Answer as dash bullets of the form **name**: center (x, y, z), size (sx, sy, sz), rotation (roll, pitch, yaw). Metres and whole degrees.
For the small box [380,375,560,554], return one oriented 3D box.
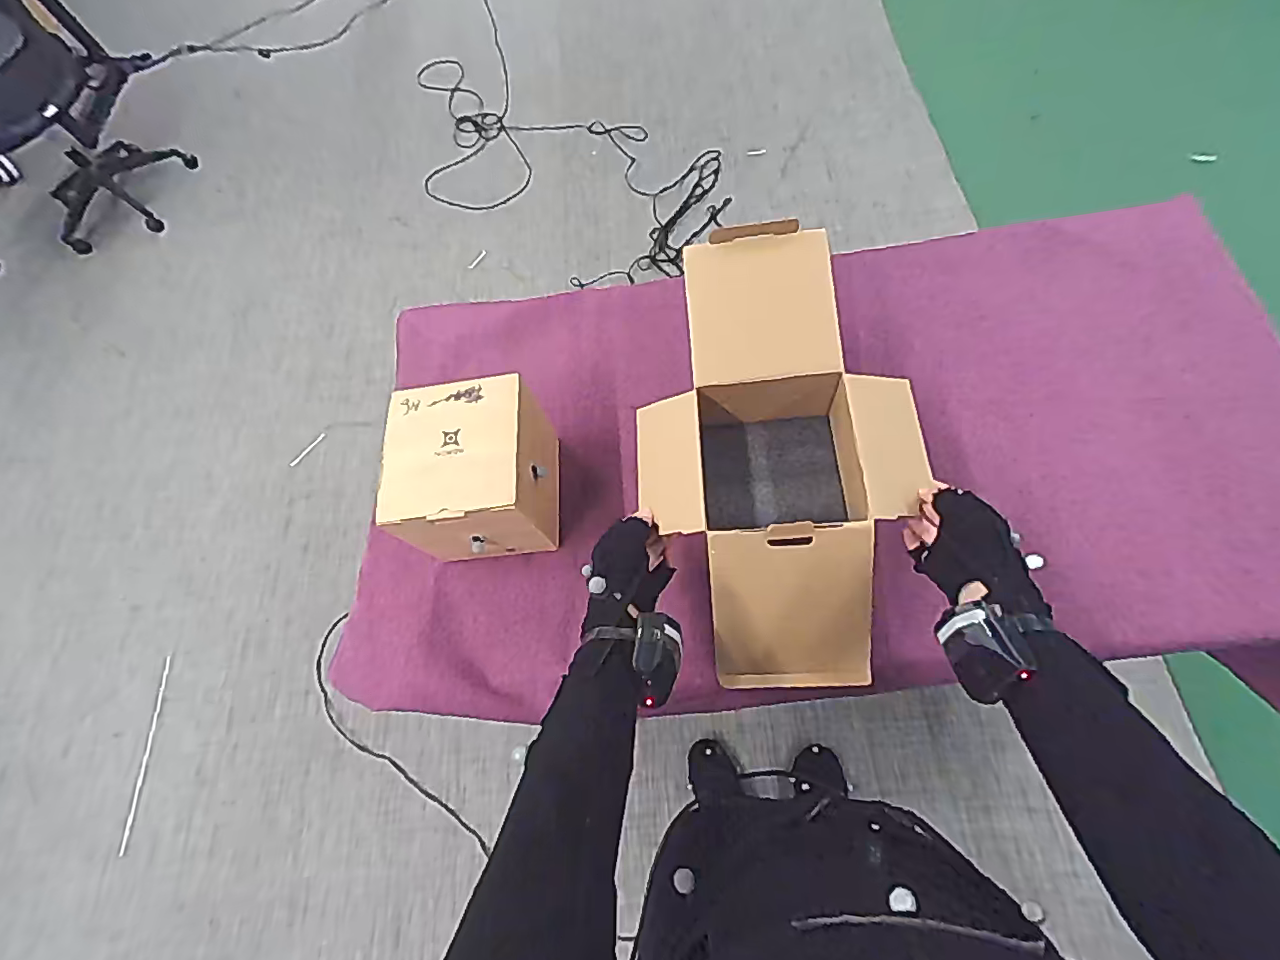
- **small box**: center (-0.203, -0.008, 0.697), size (0.168, 0.176, 0.179), rotation (-7, 67, 6)
